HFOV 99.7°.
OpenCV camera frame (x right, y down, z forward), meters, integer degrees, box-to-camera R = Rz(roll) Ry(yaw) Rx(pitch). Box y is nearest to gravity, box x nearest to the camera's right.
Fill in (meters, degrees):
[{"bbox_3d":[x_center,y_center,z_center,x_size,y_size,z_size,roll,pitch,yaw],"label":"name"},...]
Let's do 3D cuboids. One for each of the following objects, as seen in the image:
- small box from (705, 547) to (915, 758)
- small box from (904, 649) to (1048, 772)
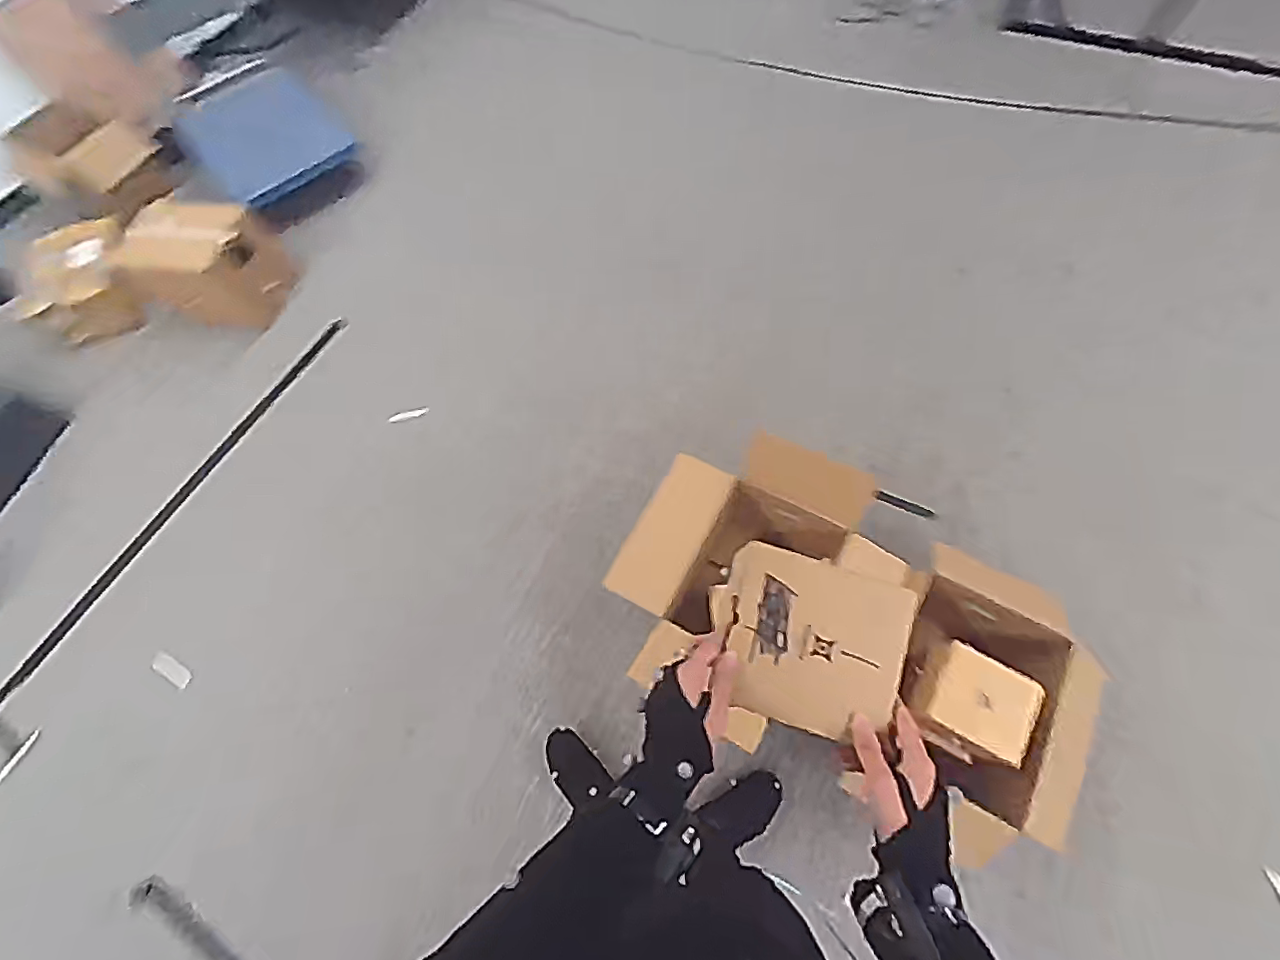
[{"bbox_3d":[0.179,0.187,0.623,0.179,0.176,0.168,16,79,6],"label":"small box"},{"bbox_3d":[0.693,0.475,1.134,0.179,0.176,0.168,28,74,16],"label":"small box"}]
